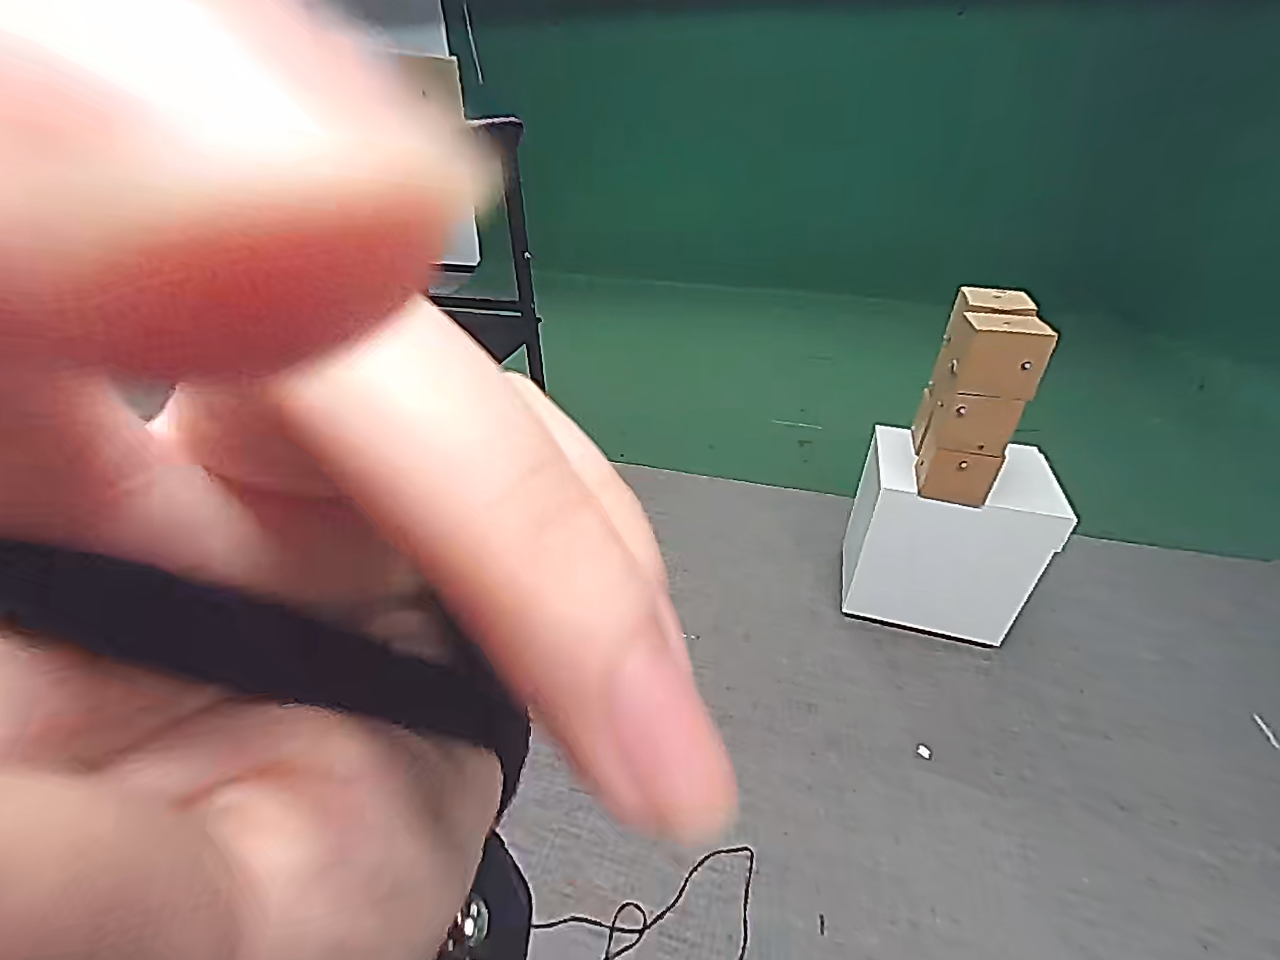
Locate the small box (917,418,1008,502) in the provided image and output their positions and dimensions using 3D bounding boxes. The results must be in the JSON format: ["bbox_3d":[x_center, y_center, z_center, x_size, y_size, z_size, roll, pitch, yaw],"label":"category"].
[{"bbox_3d":[0.927,-0.057,1.569,0.179,0.176,0.168,11,36,16],"label":"small box"}]

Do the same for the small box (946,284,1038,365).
[{"bbox_3d":[0.996,-0.445,1.545,0.168,0.176,0.179,11,39,15],"label":"small box"}]

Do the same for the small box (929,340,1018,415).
[{"bbox_3d":[1.006,-0.314,1.644,0.179,0.176,0.168,11,38,15],"label":"small box"}]
